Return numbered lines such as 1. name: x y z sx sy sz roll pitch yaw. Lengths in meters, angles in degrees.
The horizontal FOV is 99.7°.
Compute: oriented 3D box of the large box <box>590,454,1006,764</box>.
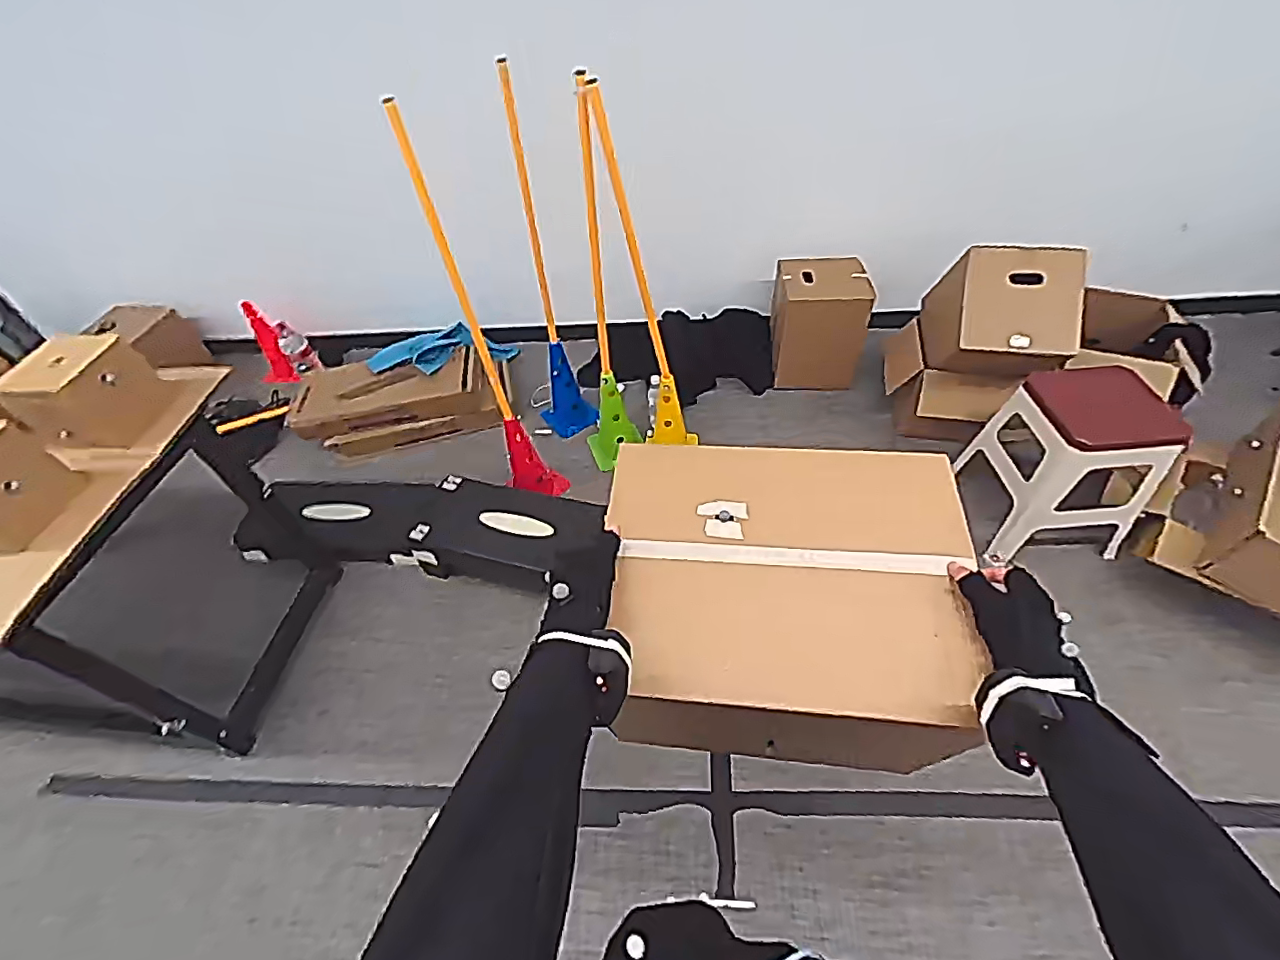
1. large box: 0.176 0.181 0.730 0.408 0.320 0.320 2 55 9
